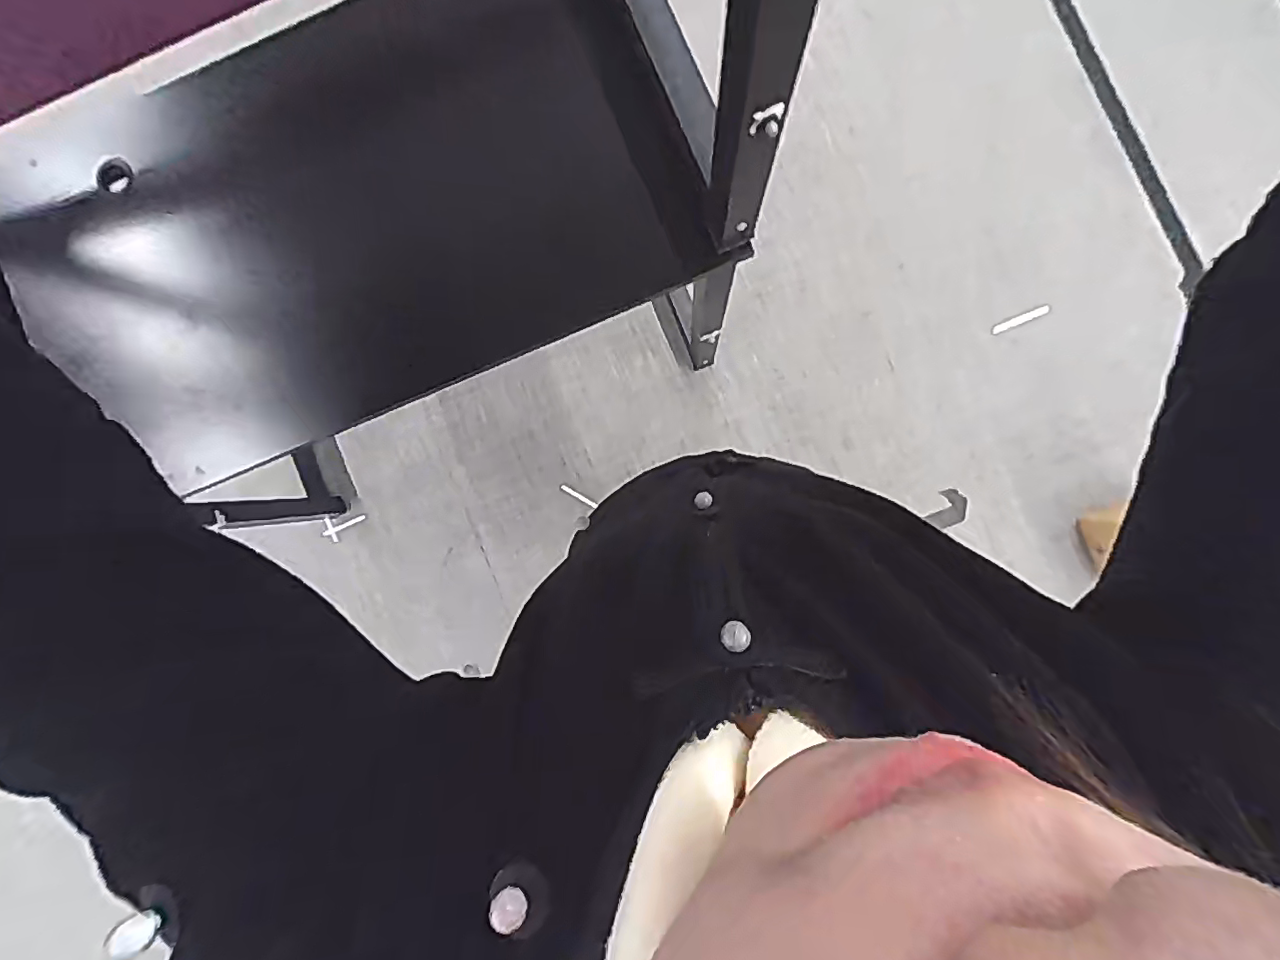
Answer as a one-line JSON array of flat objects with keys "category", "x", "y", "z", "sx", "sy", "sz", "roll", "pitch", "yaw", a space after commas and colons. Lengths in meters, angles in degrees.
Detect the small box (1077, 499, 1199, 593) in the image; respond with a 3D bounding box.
[{"category": "small box", "x": 1.242, "y": 0.155, "z": 1.333, "sx": 0.168, "sy": 0.176, "sz": 0.179, "roll": -21, "pitch": 89, "yaw": 3}]
